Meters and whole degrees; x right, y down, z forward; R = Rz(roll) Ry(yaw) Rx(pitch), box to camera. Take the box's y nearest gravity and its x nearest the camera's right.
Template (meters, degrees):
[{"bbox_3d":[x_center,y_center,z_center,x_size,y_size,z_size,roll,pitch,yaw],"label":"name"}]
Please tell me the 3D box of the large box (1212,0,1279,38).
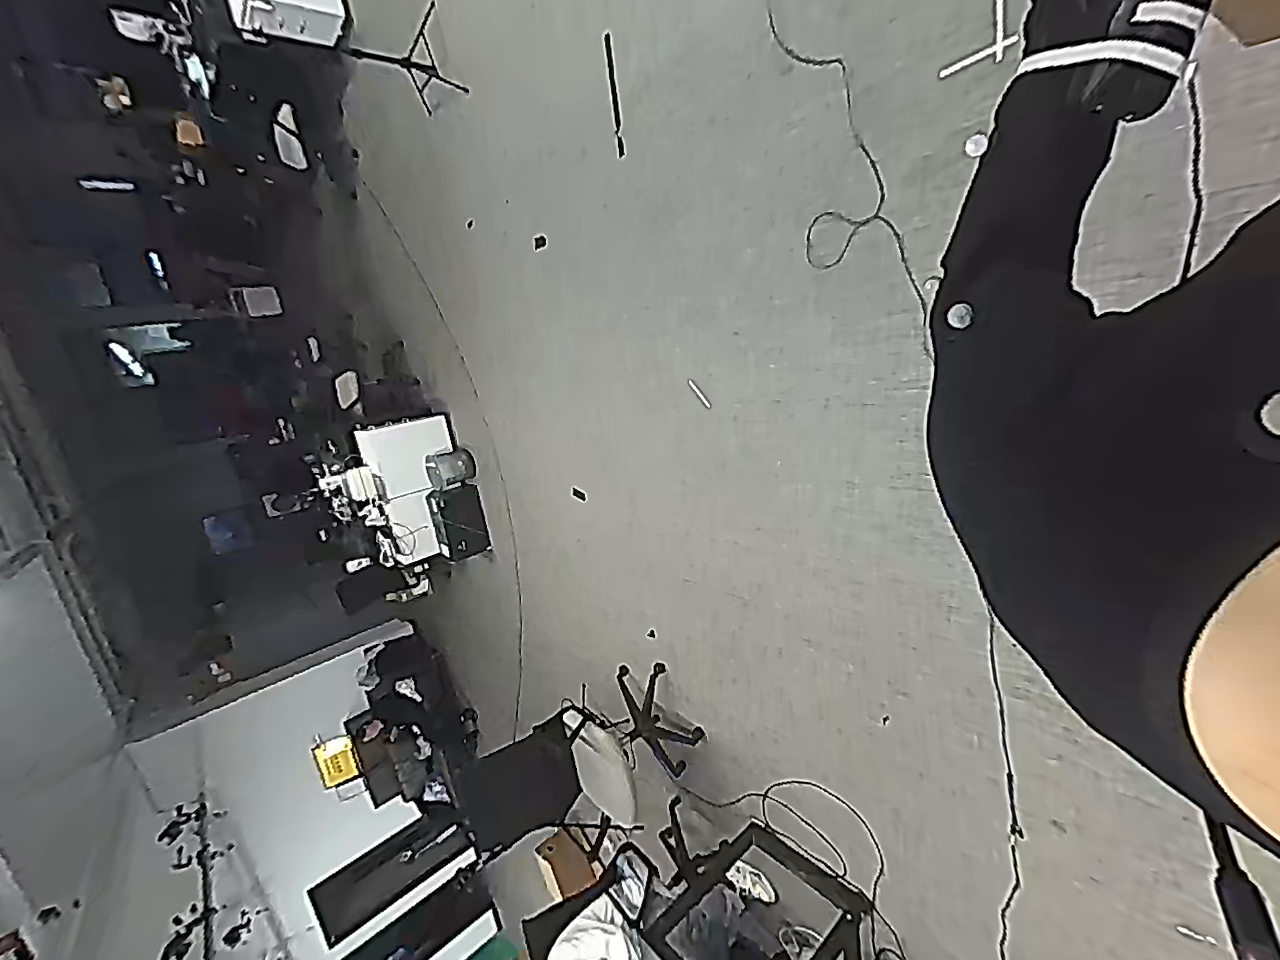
[{"bbox_3d":[0.548,-0.475,0.223,0.408,0.320,0.320,16,120,50],"label":"large box"}]
